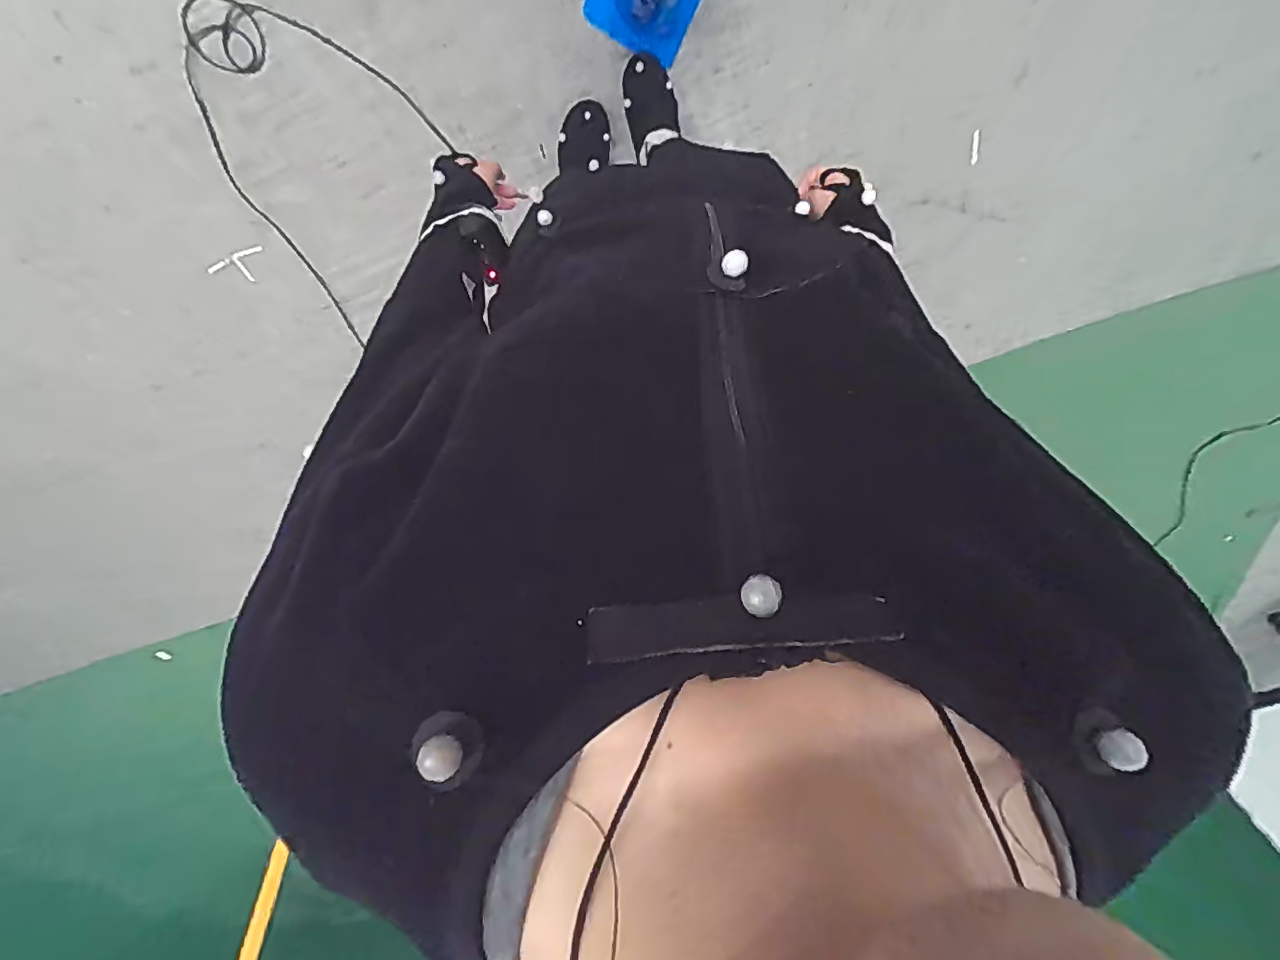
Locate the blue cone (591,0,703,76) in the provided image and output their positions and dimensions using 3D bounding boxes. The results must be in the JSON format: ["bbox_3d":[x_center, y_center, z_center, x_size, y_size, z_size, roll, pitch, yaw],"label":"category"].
[{"bbox_3d":[0.031,-0.811,0.889,0.192,0.380,0.193,19,122,-19],"label":"blue cone"}]
